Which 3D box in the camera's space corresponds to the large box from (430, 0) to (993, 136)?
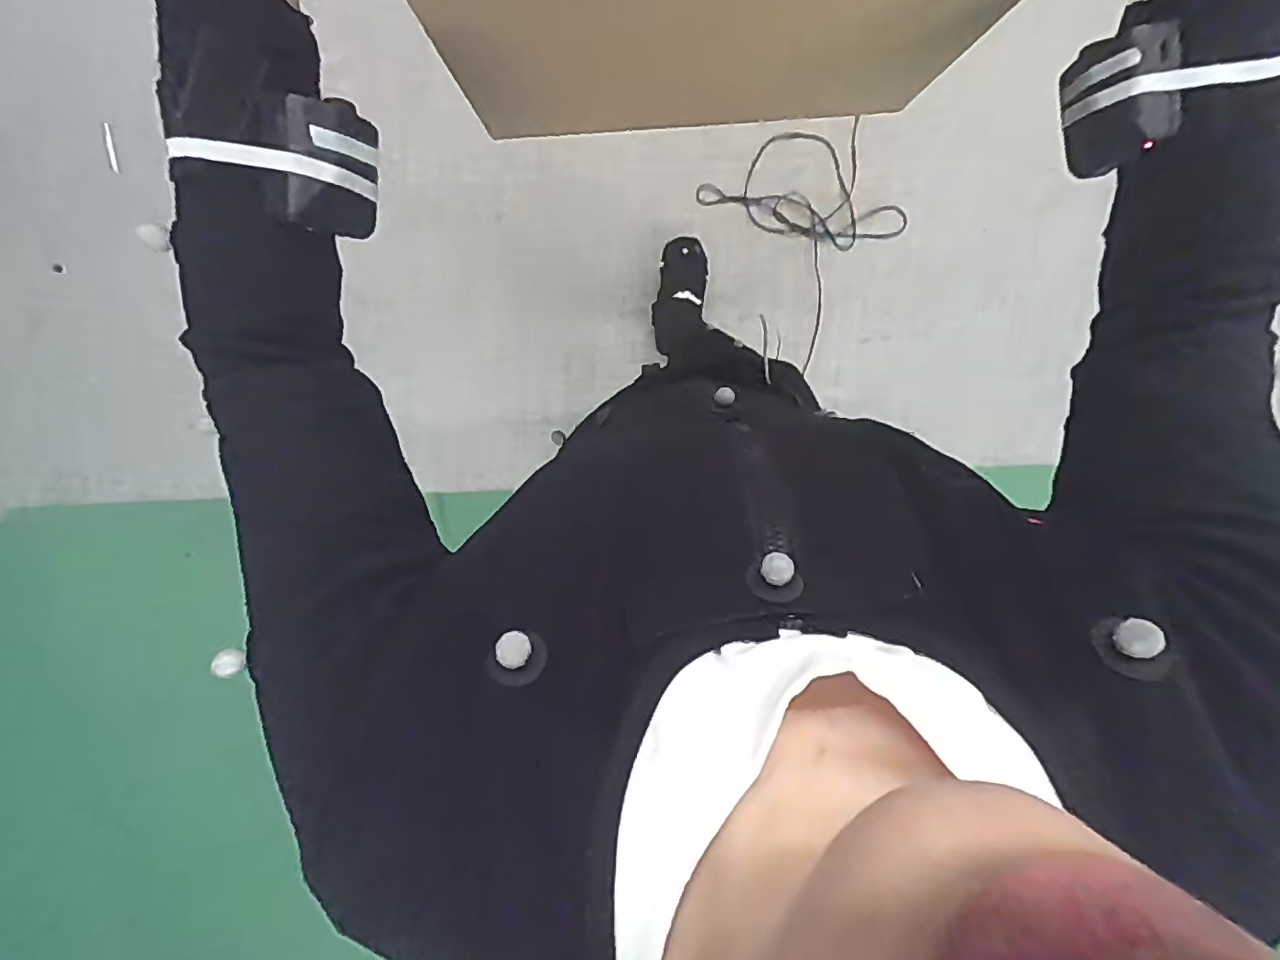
[{"bbox_3d":[0.047,-0.471,0.356,0.408,0.320,0.320,-5,102,-1],"label":"large box"}]
